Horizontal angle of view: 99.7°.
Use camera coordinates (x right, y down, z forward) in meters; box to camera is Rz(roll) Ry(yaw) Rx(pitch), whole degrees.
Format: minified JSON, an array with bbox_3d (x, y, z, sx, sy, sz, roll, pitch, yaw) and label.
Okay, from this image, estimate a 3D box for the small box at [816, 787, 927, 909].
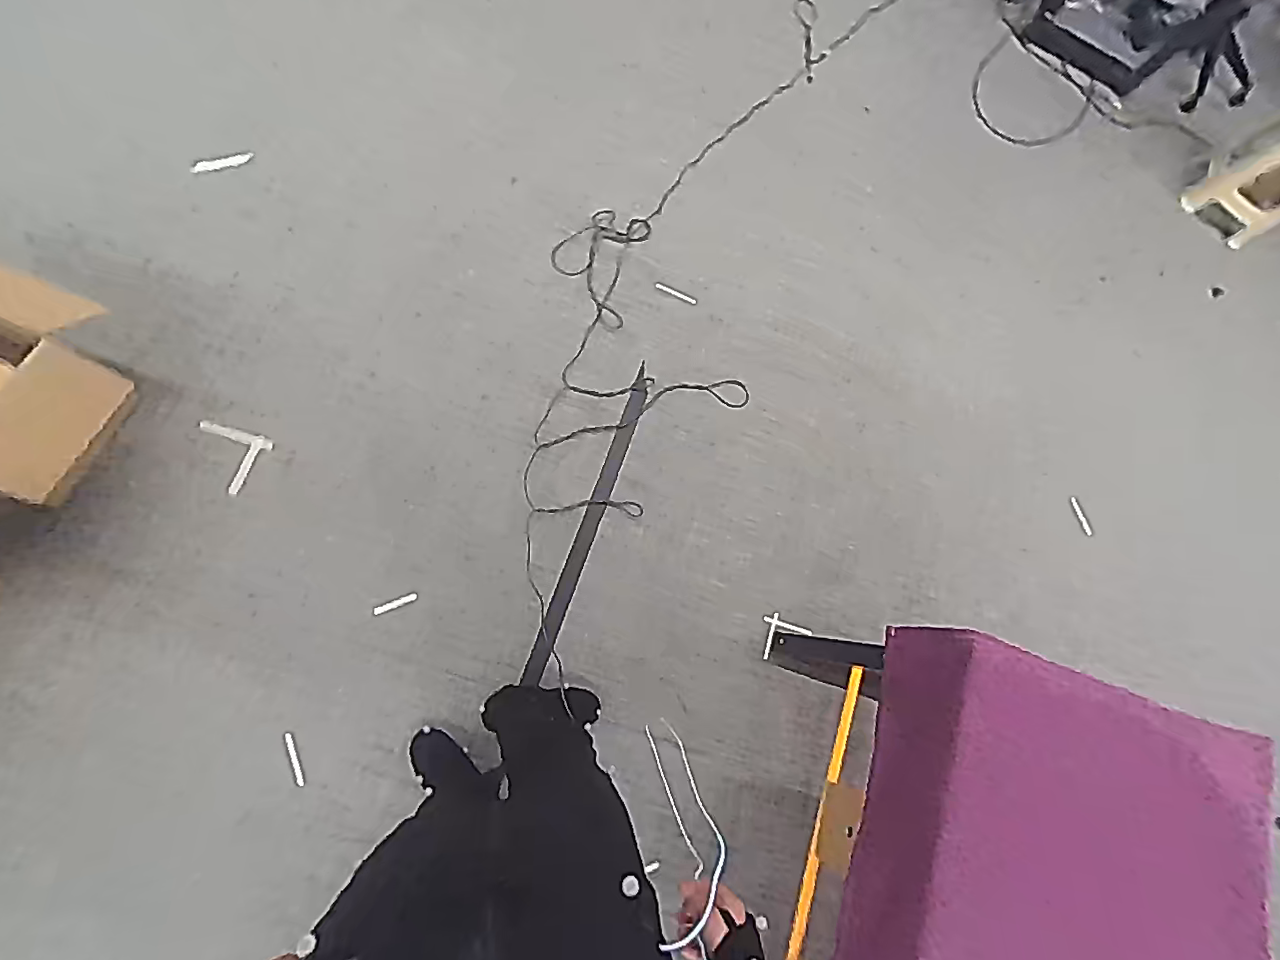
[{"bbox_3d":[0.548,0.869,1.295,0.168,0.176,0.179,20,76,-9],"label":"small box"}]
